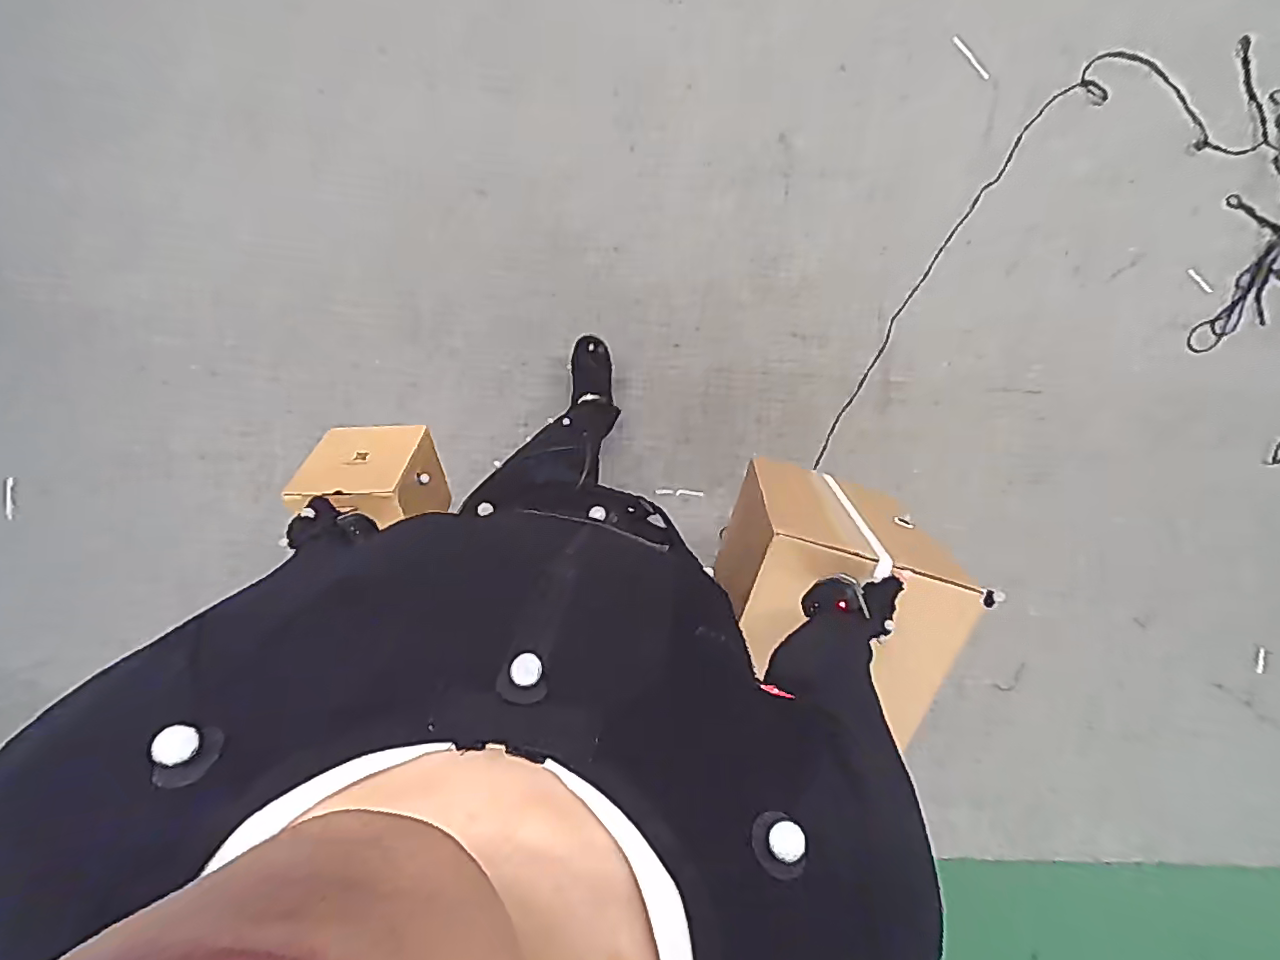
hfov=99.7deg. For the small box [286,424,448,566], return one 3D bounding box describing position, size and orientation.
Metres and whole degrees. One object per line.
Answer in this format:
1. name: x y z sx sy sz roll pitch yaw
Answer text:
1. small box: -0.433 0.023 0.896 0.168 0.179 0.176 -2 129 0
